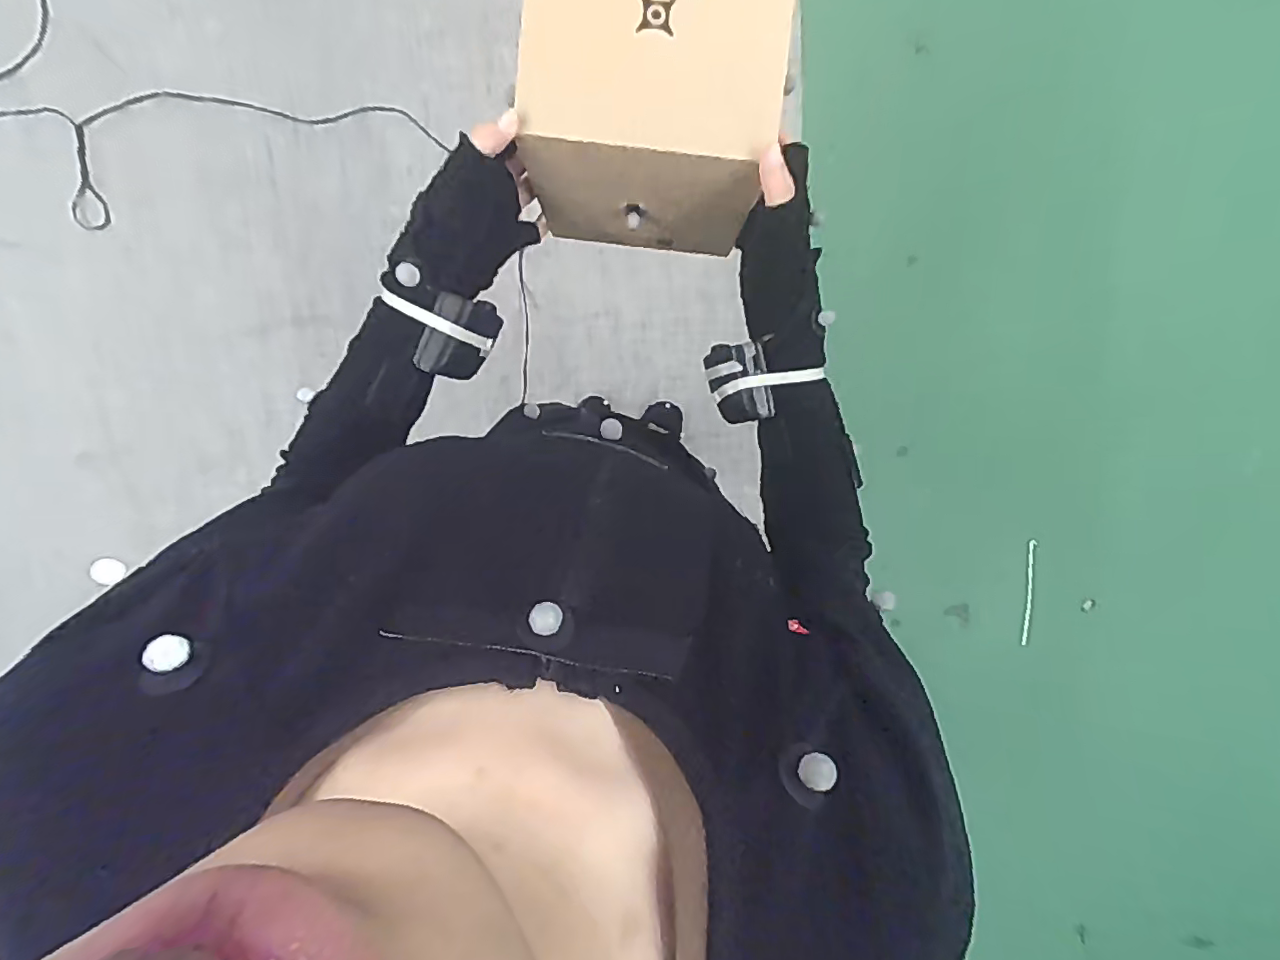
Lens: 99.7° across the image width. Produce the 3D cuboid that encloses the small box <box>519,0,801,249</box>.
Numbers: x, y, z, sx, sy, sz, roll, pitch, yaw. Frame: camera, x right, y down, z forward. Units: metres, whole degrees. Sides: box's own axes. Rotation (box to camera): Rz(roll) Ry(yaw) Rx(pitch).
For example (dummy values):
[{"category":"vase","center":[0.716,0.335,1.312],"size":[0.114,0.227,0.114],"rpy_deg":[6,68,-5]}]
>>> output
[{"category":"small box","center":[0.015,-0.293,0.405],"size":[0.168,0.176,0.179],"rpy_deg":[6,93,-2]}]
